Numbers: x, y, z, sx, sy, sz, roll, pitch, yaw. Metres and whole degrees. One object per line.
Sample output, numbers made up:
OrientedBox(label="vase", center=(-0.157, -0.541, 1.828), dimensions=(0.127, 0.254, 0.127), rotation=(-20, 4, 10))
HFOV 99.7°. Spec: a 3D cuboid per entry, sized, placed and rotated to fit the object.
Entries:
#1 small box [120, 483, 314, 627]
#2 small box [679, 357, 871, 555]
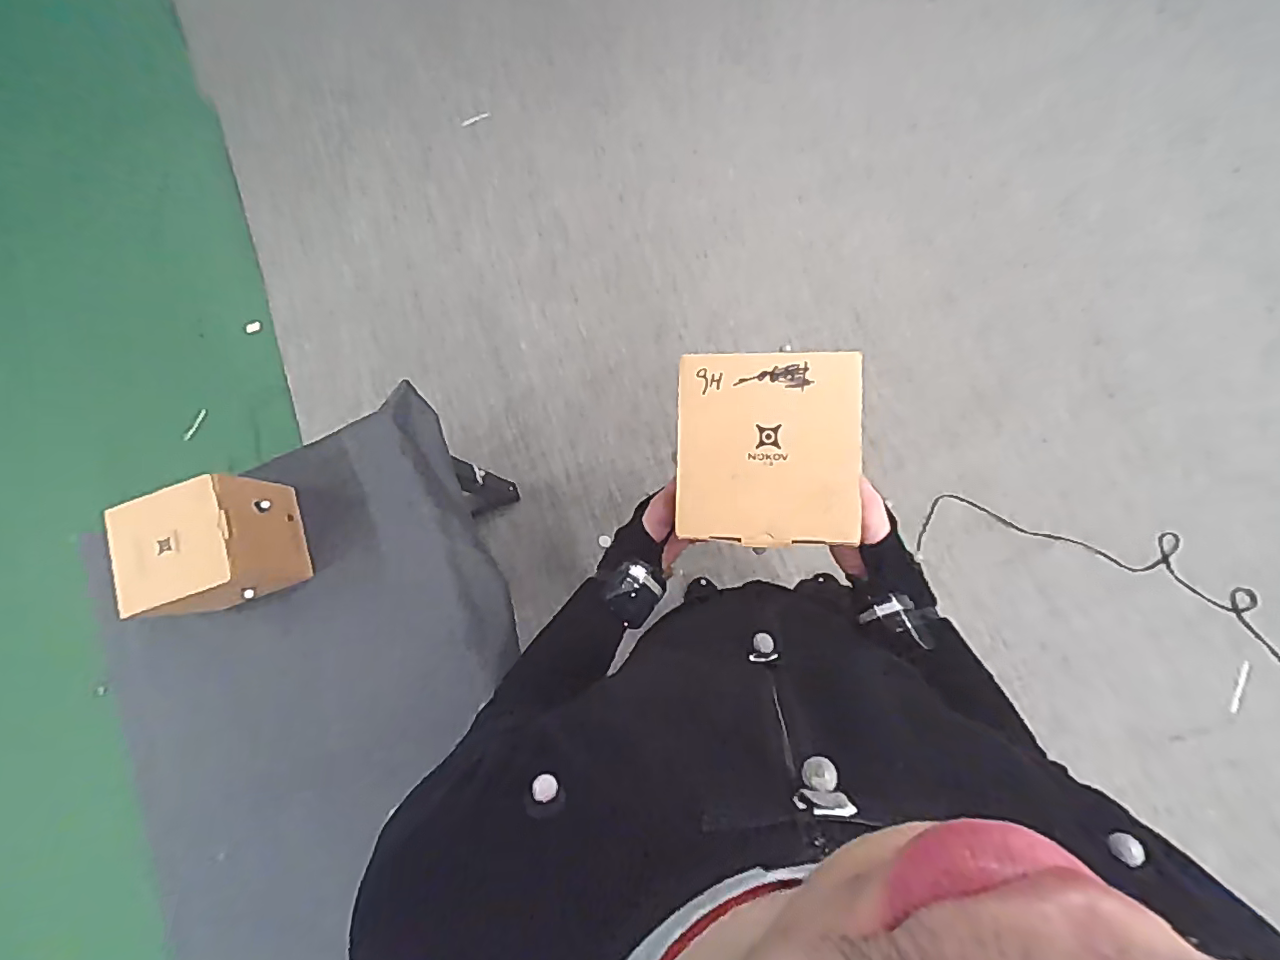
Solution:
OrientedBox(label="small box", center=(-0.650, 0.120, 0.853), dimensions=(0.179, 0.176, 0.168), rotation=(-20, 77, 3))
OrientedBox(label="small box", center=(0.132, -0.019, 0.562), dimensions=(0.168, 0.176, 0.179), rotation=(1, 86, 9))
